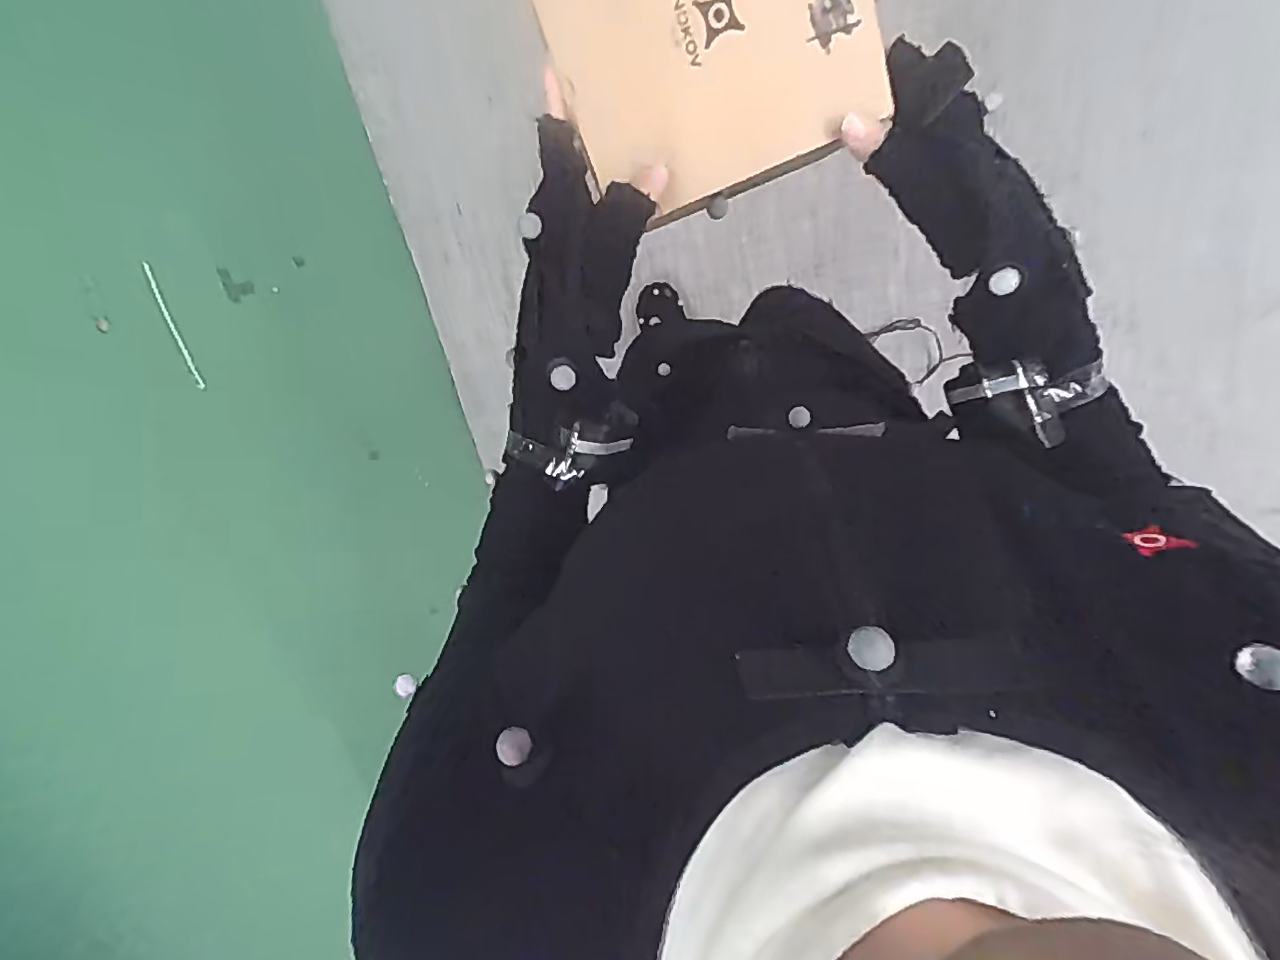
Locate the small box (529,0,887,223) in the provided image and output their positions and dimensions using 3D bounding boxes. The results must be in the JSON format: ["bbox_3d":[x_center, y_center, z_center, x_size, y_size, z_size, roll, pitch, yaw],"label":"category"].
[{"bbox_3d":[0.038,-0.298,0.374,0.179,0.176,0.168,-21,108,12],"label":"small box"}]
